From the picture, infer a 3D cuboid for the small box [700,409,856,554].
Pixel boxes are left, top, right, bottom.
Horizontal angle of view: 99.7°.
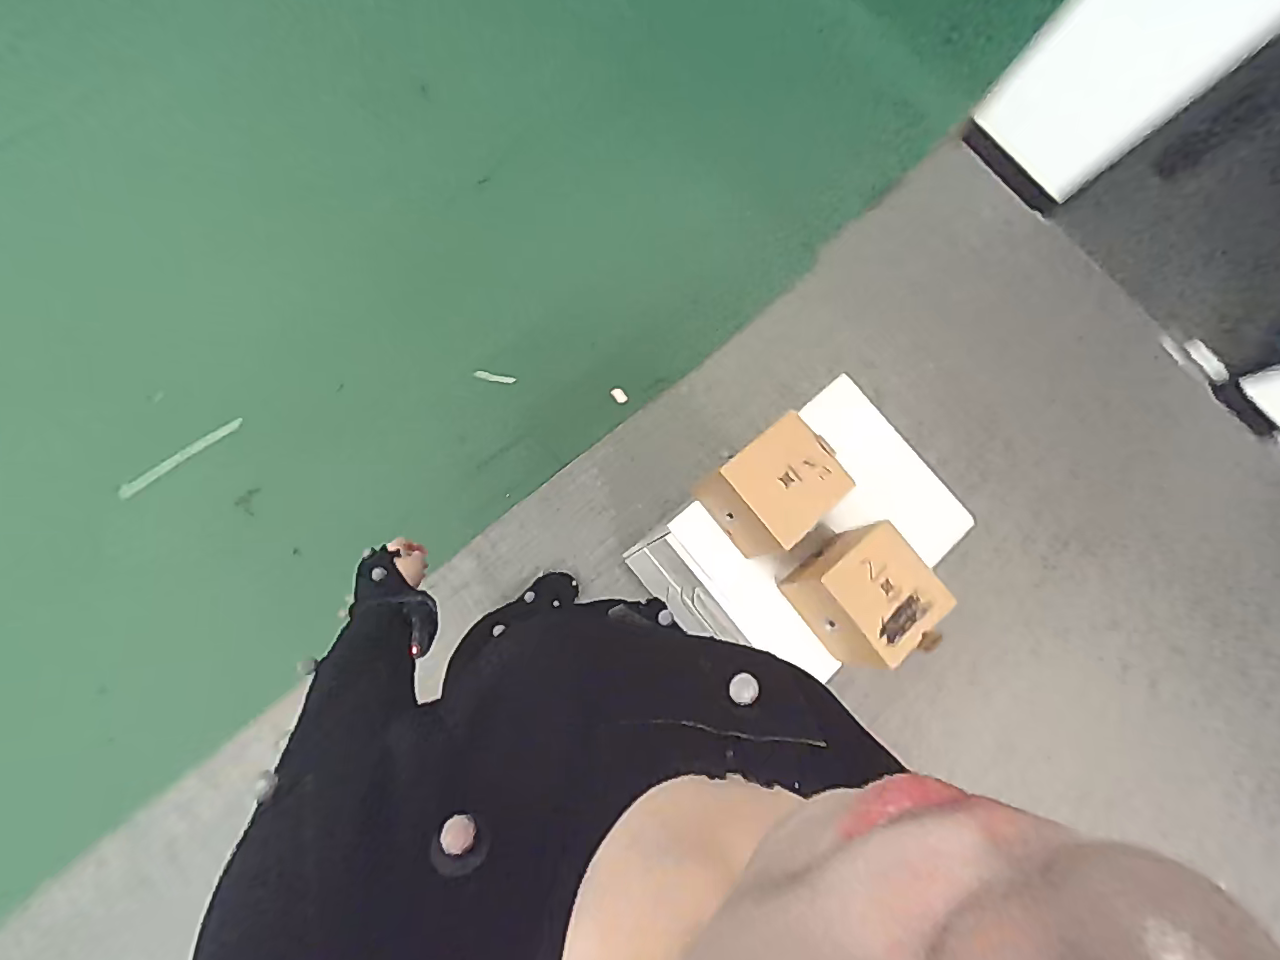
[{"bbox_3d":[0.222,0.012,0.932,0.179,0.176,0.168,-38,88,-17],"label":"small box"}]
